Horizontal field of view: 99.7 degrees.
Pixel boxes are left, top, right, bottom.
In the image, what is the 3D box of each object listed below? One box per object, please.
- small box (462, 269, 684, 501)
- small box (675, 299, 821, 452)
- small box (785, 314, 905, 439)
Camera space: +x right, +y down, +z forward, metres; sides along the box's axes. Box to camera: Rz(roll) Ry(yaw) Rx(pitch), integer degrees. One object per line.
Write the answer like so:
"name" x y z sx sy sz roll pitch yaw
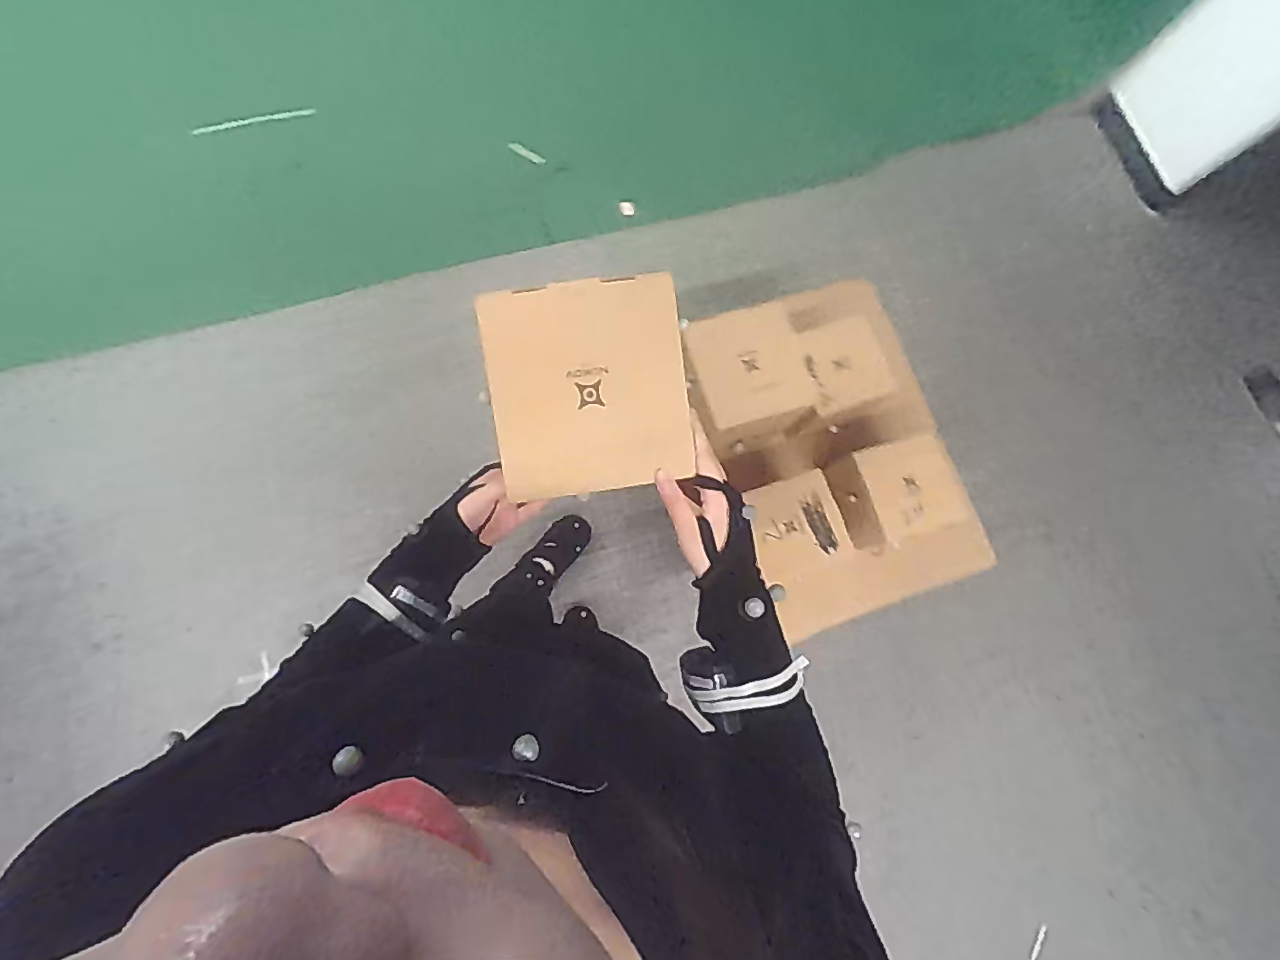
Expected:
"small box" -0.058 -0.086 0.531 0.168 0.176 0.179 -9 95 -3
"small box" 0.163 -0.162 0.886 0.168 0.176 0.179 -15 81 -6
"small box" 0.377 -0.199 1.077 0.179 0.176 0.168 -18 79 -9
